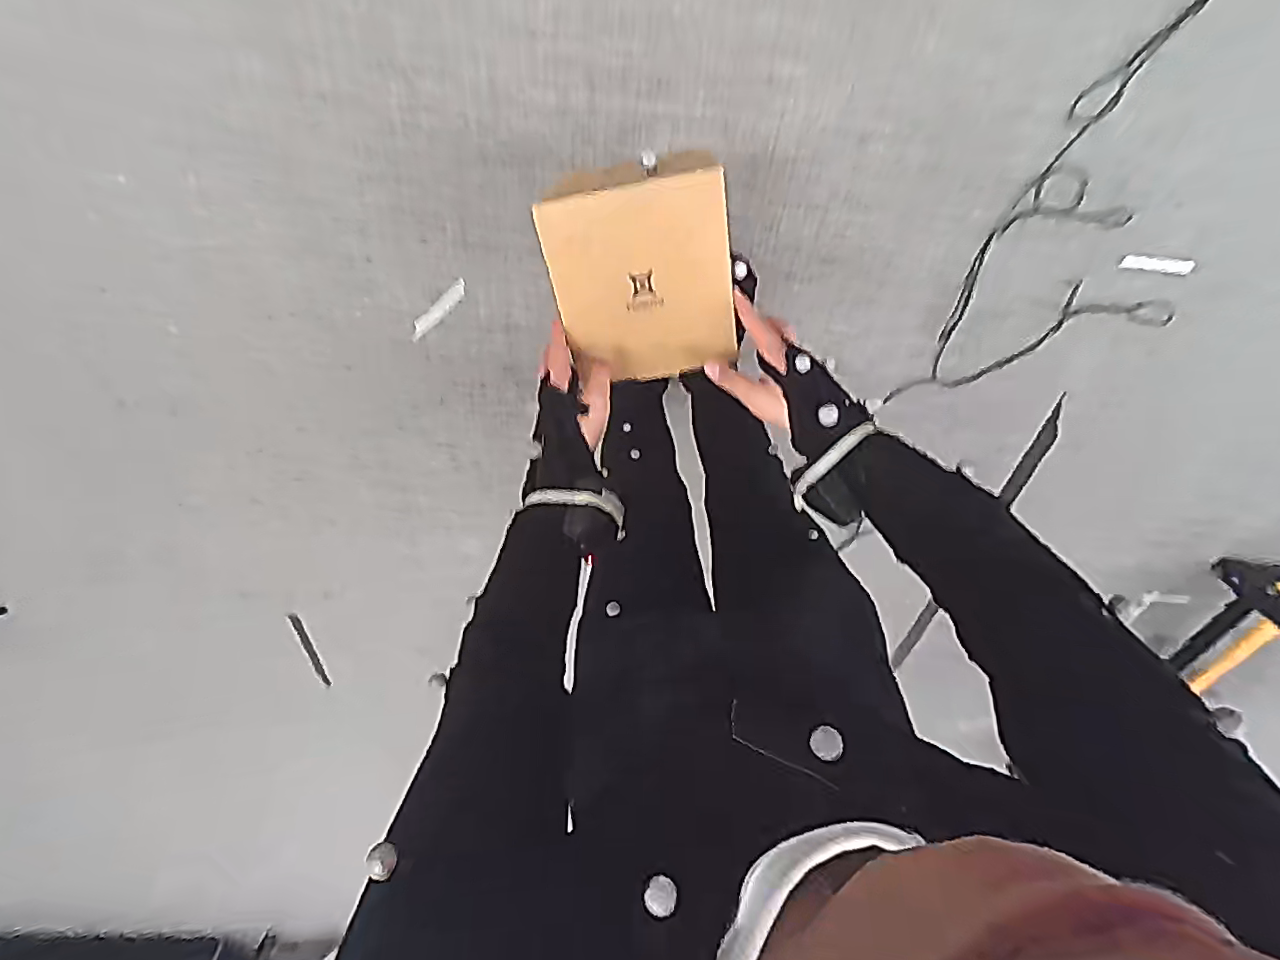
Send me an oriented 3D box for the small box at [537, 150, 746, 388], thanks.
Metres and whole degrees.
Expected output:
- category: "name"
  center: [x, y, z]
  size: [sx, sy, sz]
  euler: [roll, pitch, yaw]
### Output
- category: "small box"
  center: [0.009, -0.218, 0.547]
  size: [0.168, 0.176, 0.179]
  euler: [-8, 126, 7]
